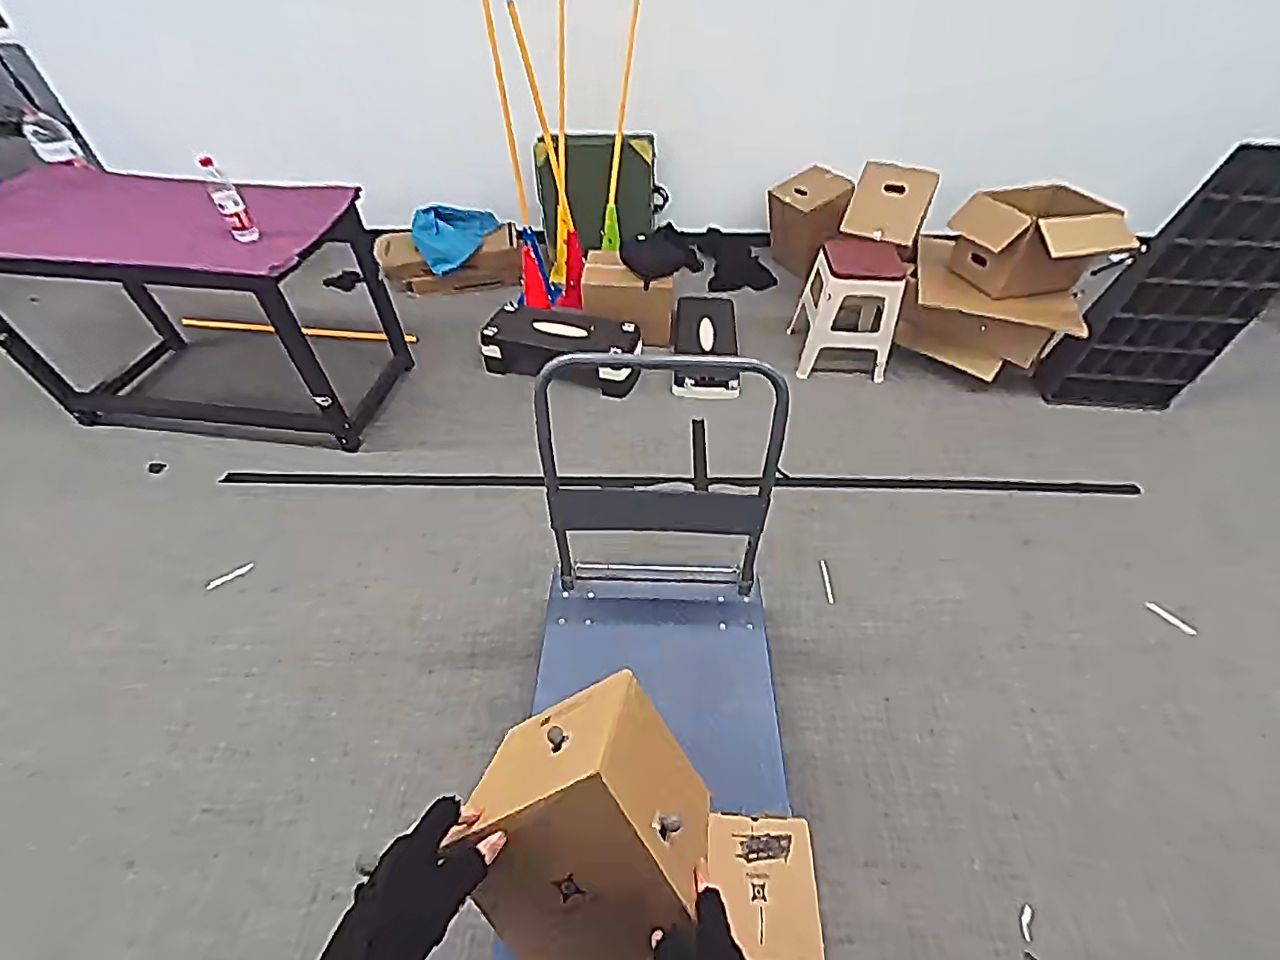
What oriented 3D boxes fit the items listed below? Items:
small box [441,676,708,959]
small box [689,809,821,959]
[{"bbox_3d":[-0.049,0.320,0.526,0.168,0.179,0.176,-32,7,13],"label":"small box"},{"bbox_3d":[0.167,0.637,0.840,0.168,0.176,0.179,5,48,2],"label":"small box"}]
